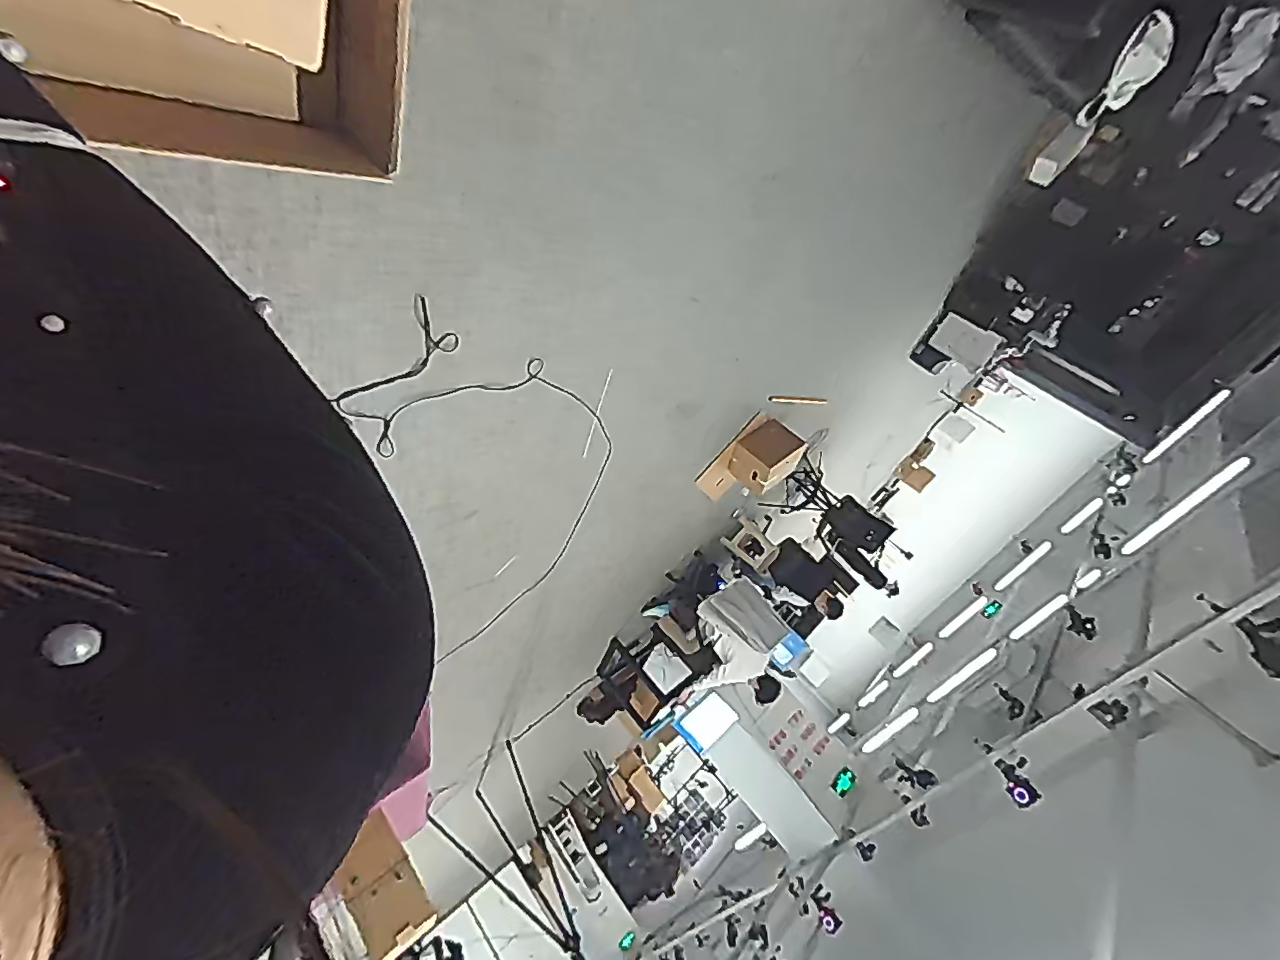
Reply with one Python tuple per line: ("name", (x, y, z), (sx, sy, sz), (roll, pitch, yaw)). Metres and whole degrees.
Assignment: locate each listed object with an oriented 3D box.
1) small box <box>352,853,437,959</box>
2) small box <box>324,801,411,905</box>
("small box", (-0.693, 1.198, 1.525), (0.168, 0.176, 0.179), (-23, 149, -40))
("small box", (-0.799, 1.092, 1.592), (0.179, 0.176, 0.168), (-23, 147, -40))
